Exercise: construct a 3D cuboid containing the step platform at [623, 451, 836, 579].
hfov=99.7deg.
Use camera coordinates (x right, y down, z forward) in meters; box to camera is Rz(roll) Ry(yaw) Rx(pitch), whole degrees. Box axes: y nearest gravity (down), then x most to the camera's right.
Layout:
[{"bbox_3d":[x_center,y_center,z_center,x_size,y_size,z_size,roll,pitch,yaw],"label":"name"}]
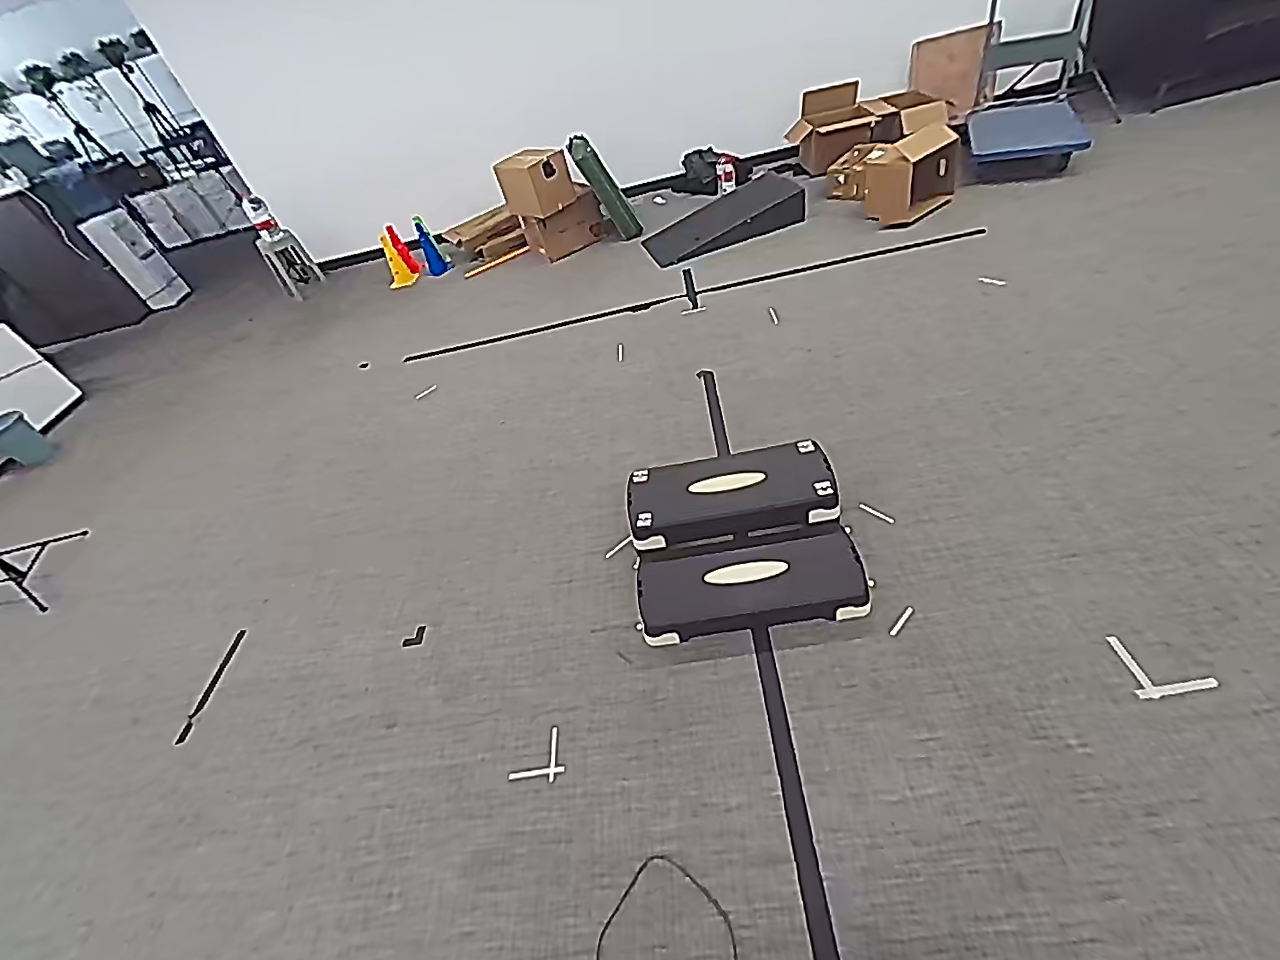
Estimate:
[{"bbox_3d":[0.284,0.113,1.802,0.684,0.204,0.286,-11,44,5],"label":"step platform"}]
